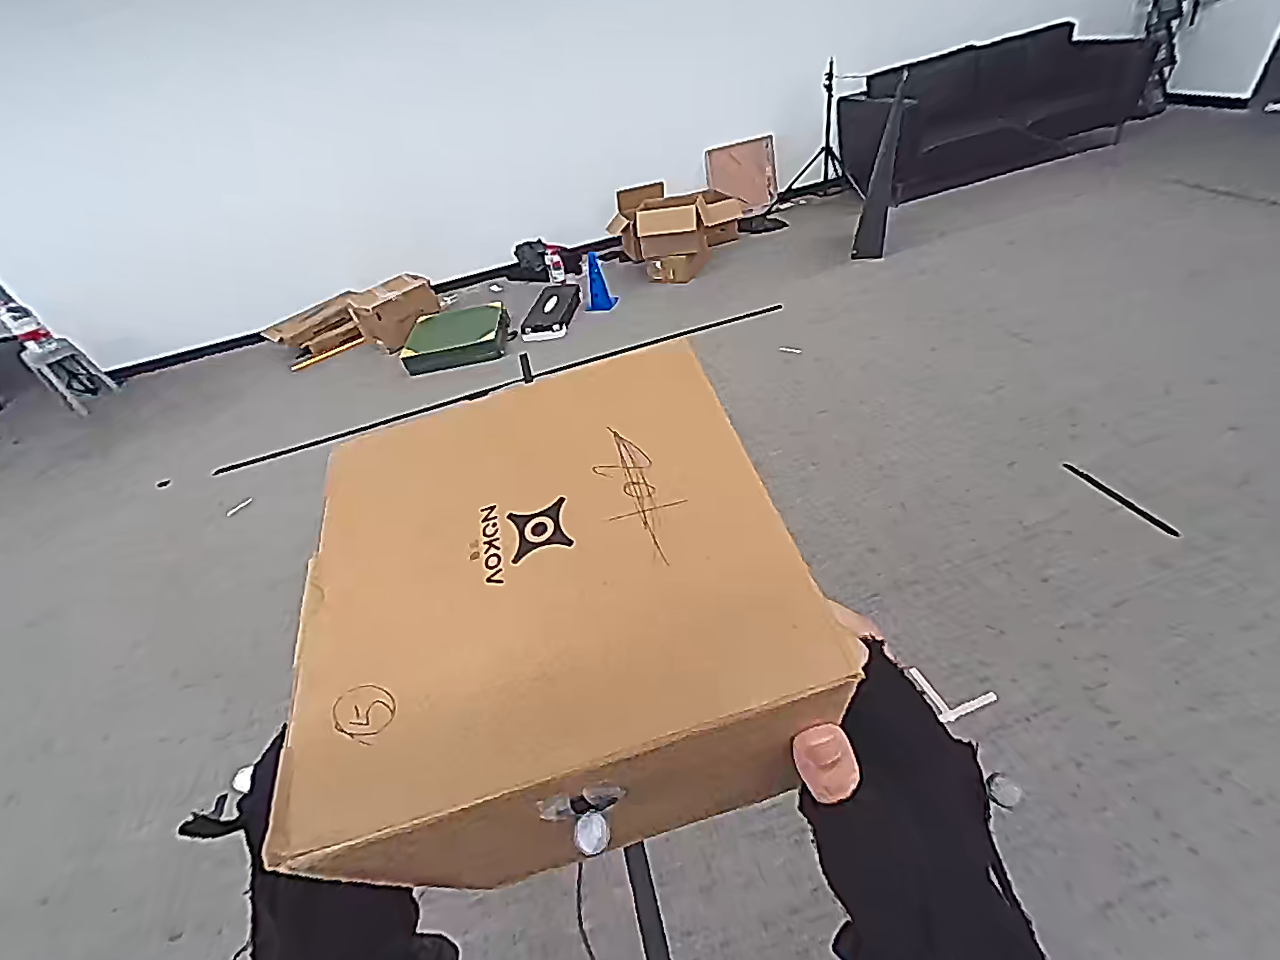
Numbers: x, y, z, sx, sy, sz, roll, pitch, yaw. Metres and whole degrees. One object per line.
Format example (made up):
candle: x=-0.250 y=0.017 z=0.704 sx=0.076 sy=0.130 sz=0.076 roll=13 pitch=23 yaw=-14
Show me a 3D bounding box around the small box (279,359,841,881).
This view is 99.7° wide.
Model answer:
small box: x=-0.025 y=0.076 z=0.267 sx=0.179 sy=0.176 sz=0.168 roll=-17 pitch=51 yaw=-1
